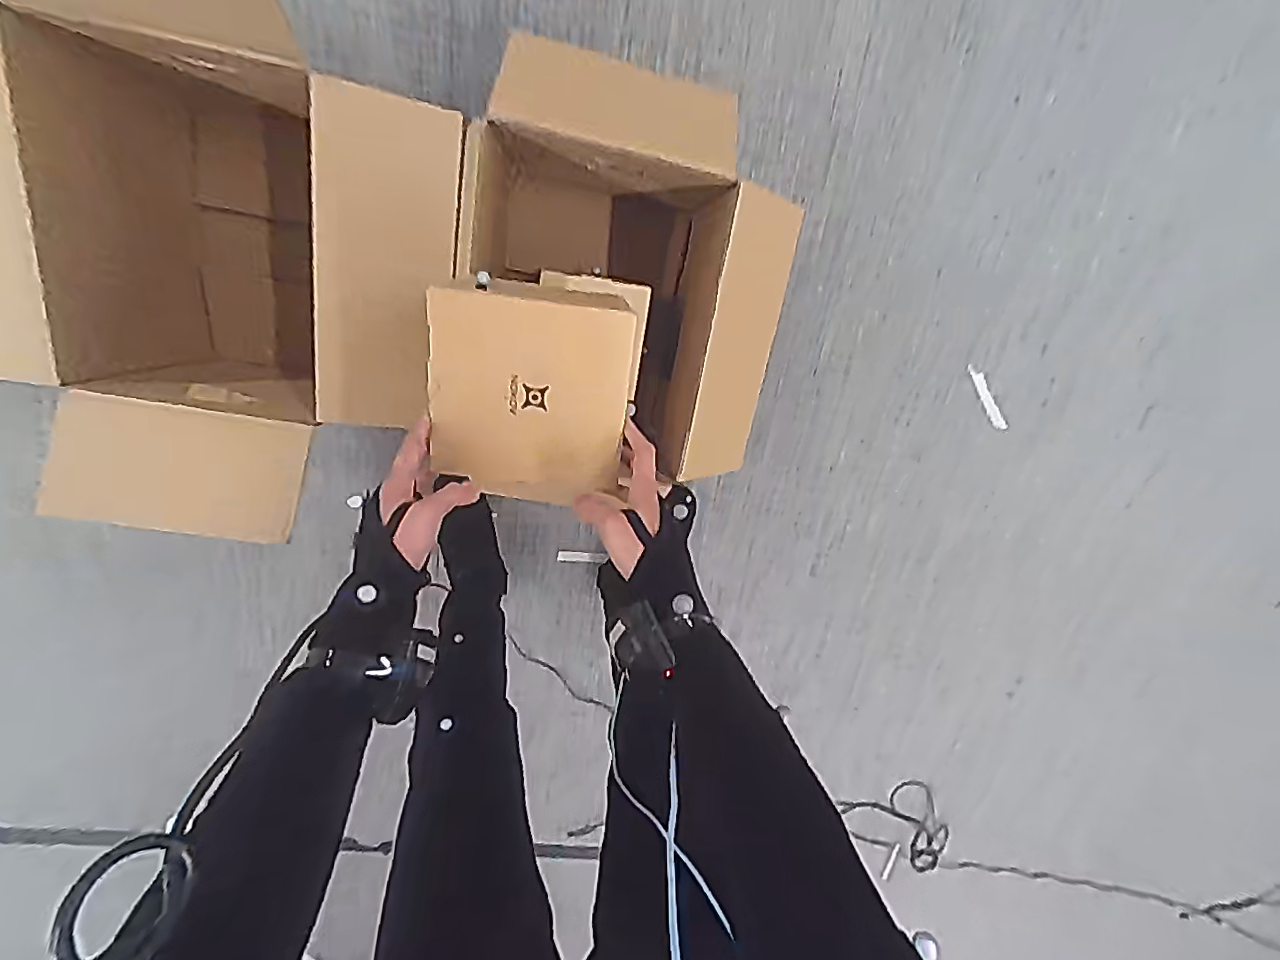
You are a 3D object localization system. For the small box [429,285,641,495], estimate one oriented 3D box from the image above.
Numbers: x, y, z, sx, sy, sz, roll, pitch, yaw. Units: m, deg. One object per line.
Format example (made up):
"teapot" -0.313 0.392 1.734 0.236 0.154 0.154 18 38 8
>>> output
"small box" -0.100 -0.098 0.546 0.179 0.176 0.168 5 113 -6
